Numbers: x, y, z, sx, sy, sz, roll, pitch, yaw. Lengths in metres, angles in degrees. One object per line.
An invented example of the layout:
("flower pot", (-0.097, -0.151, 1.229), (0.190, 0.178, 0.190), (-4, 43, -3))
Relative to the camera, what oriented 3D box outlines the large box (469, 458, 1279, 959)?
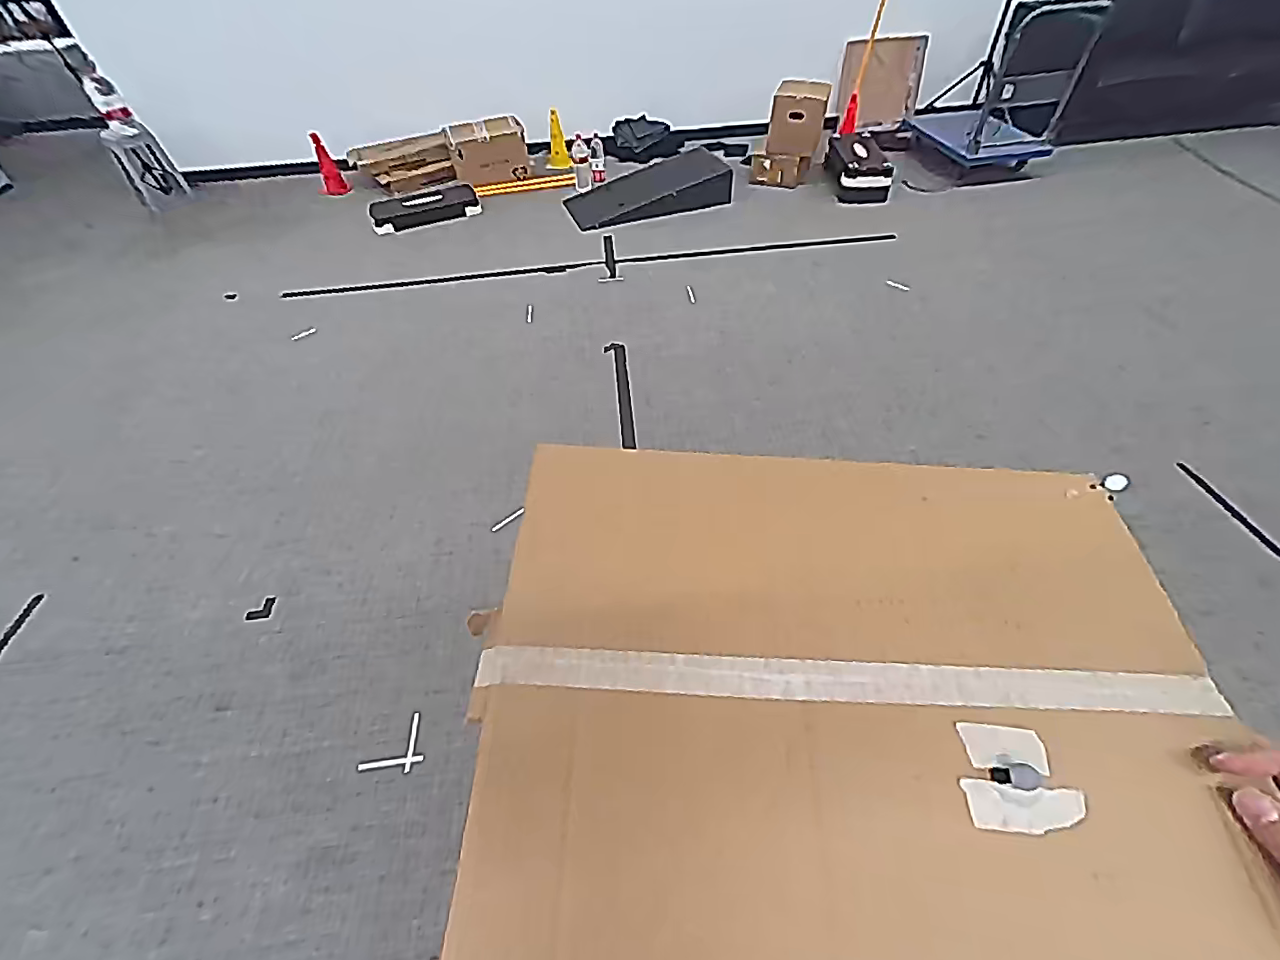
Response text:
("large box", (0.115, 0.204, 0.431), (0.408, 0.320, 0.320), (4, 55, -2))
